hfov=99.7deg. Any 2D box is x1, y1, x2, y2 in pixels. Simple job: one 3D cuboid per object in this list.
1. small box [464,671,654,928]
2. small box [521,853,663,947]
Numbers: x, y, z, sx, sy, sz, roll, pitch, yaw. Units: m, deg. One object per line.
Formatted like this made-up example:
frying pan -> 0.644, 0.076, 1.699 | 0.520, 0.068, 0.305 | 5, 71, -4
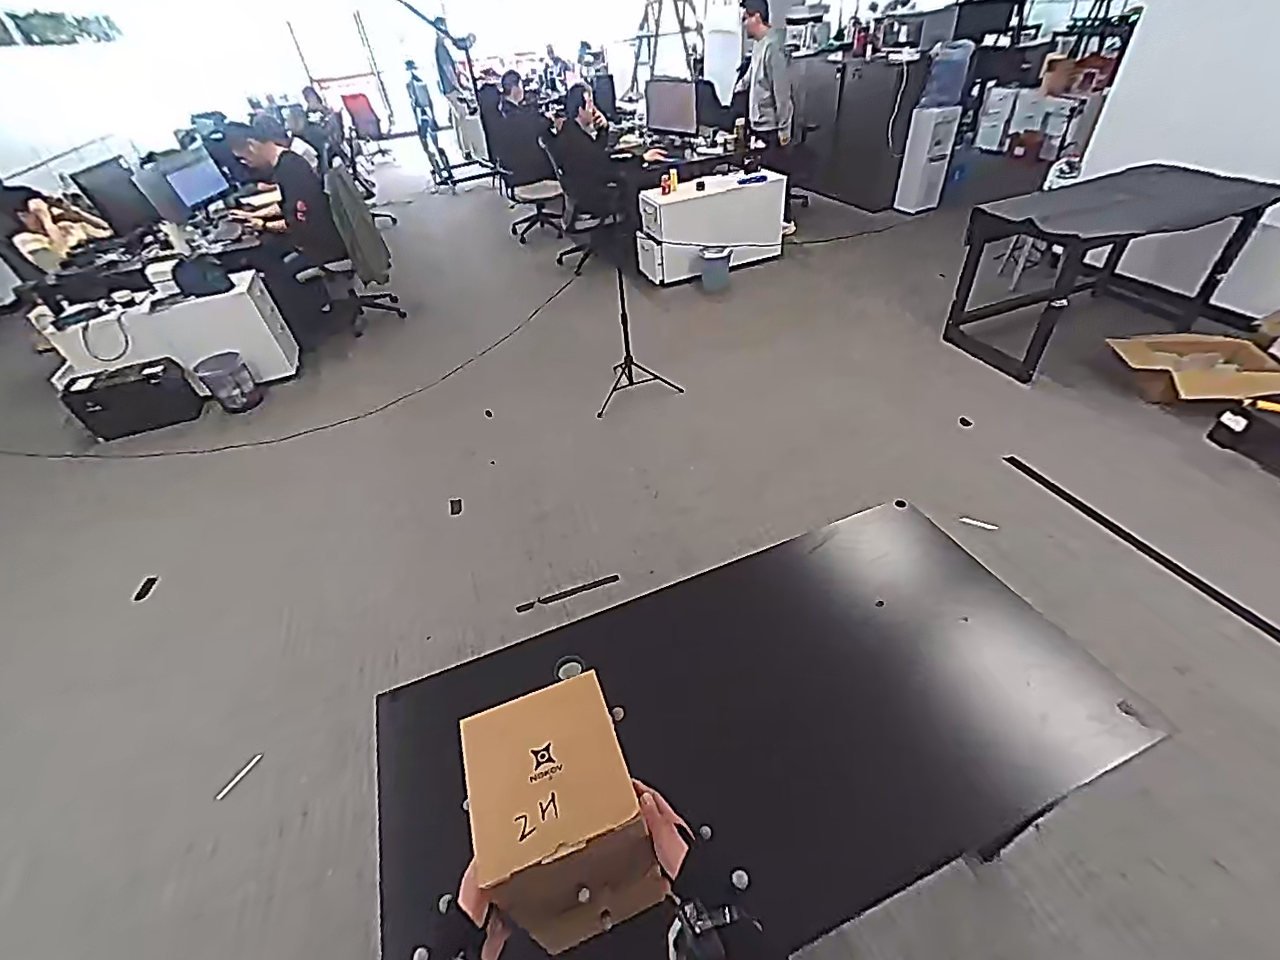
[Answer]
small box -> -0.092, 0.361, 0.620 | 0.168, 0.176, 0.179 | -17, 40, -11
small box -> -0.075, 0.489, 0.729 | 0.168, 0.176, 0.179 | -18, 43, -12
